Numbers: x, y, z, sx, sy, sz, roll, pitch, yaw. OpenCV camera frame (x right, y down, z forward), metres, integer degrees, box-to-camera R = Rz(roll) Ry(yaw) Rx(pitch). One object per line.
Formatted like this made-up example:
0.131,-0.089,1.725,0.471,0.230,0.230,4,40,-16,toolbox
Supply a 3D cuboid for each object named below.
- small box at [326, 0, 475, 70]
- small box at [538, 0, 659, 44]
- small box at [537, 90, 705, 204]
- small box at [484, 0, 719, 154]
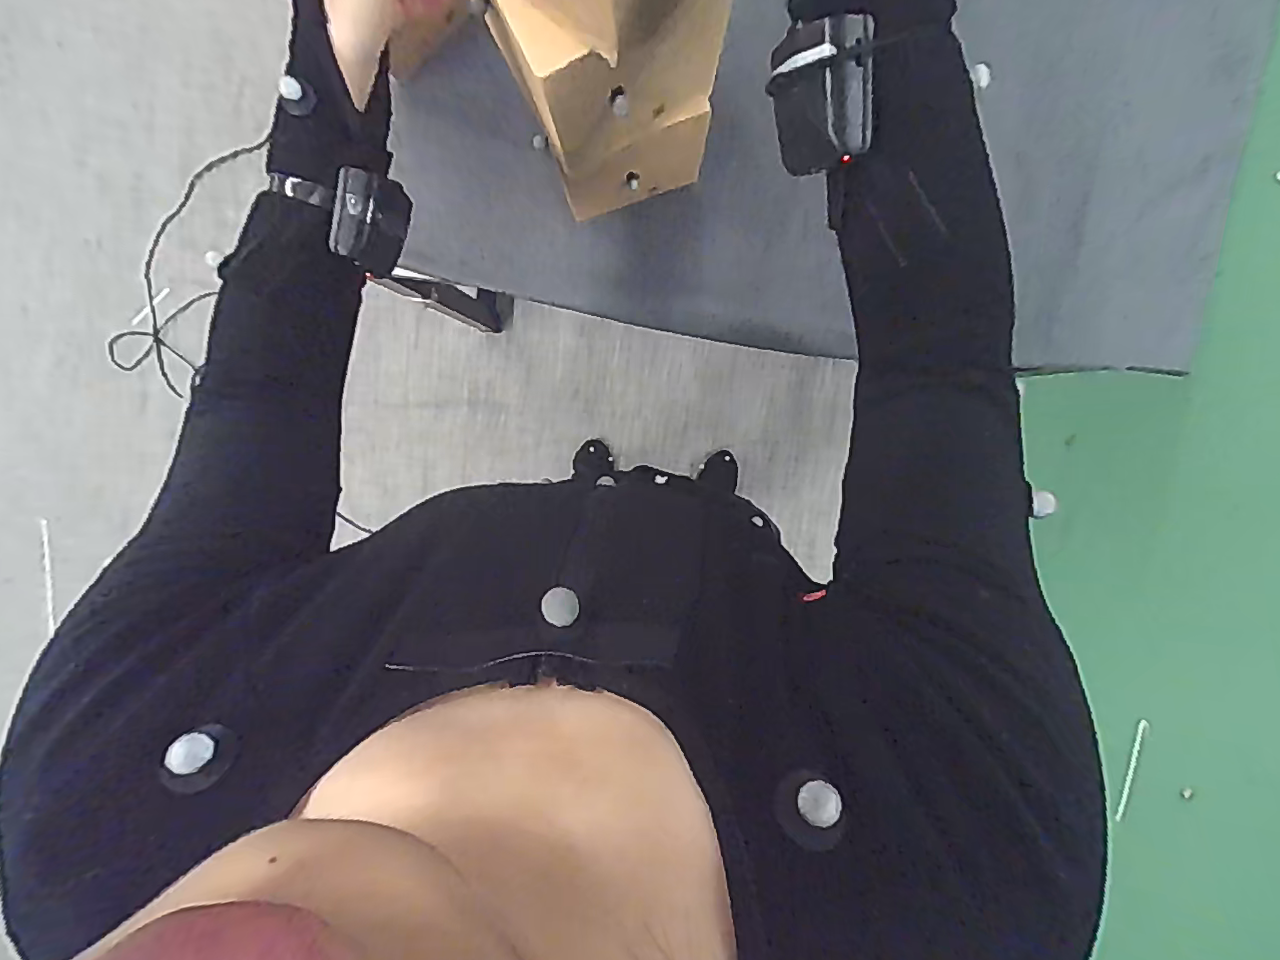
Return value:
-0.309,-0.617,0.594,0.168,0.176,0.179,-42,95,6,small box
-0.041,-0.398,0.289,0.179,0.176,0.168,36,98,-4,small box
-0.033,-0.438,0.611,0.168,0.176,0.179,-17,97,3,small box
-0.040,-0.412,0.452,0.168,0.176,0.179,-28,95,6,small box
